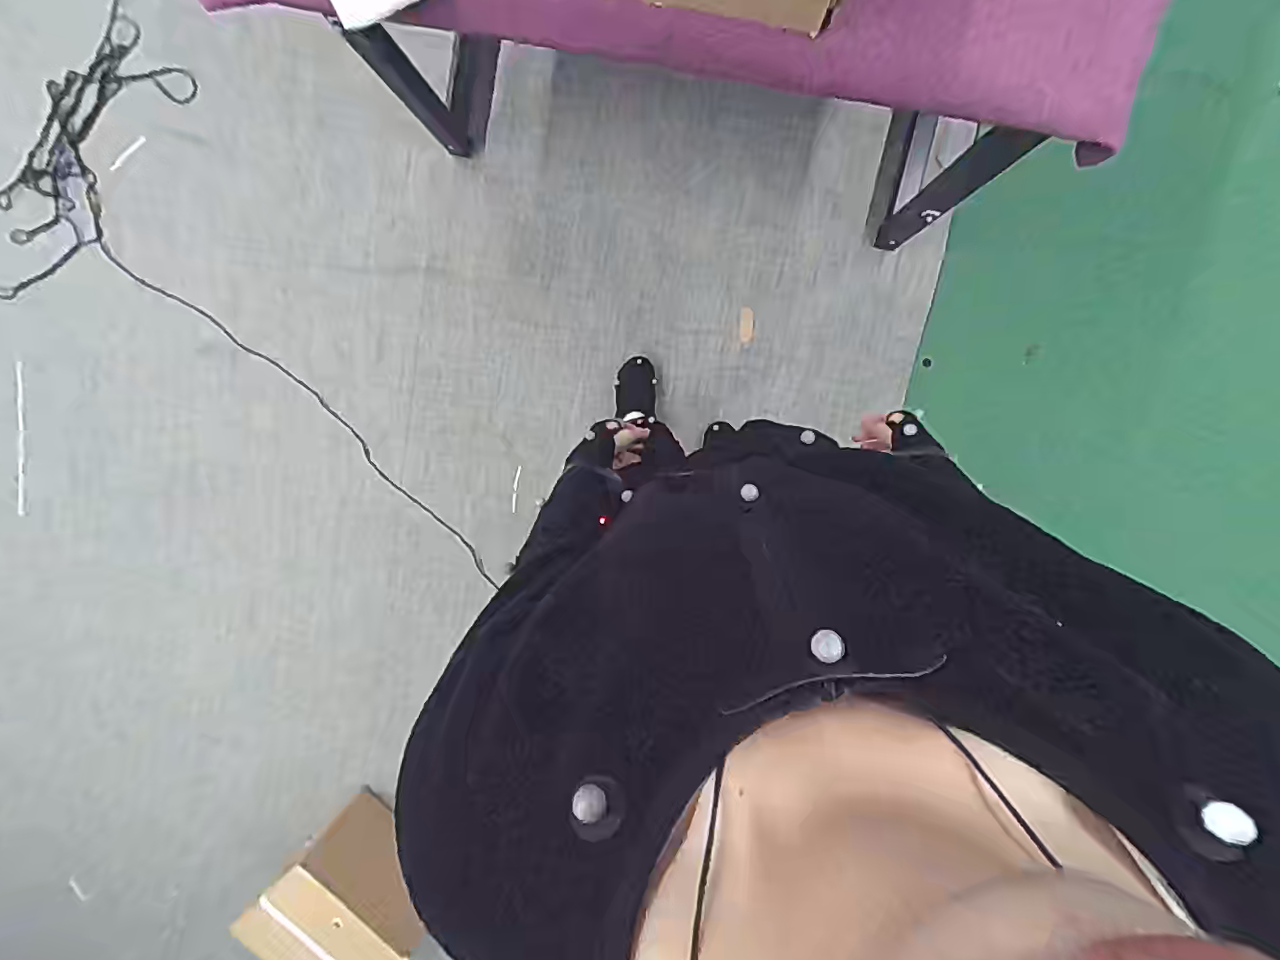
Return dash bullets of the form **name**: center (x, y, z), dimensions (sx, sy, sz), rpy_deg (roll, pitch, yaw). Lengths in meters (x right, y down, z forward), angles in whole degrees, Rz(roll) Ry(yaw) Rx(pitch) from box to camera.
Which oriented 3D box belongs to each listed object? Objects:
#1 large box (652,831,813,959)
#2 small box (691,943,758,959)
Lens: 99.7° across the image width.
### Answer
- **large box**: center (0.245, 1.245, 1.521), dimensions (0.408, 0.320, 0.320), rpy_deg (-3, 99, 3)
- **small box**: center (0.203, 1.249, 1.275), dimensions (0.168, 0.176, 0.179), rpy_deg (3, 97, 4)
